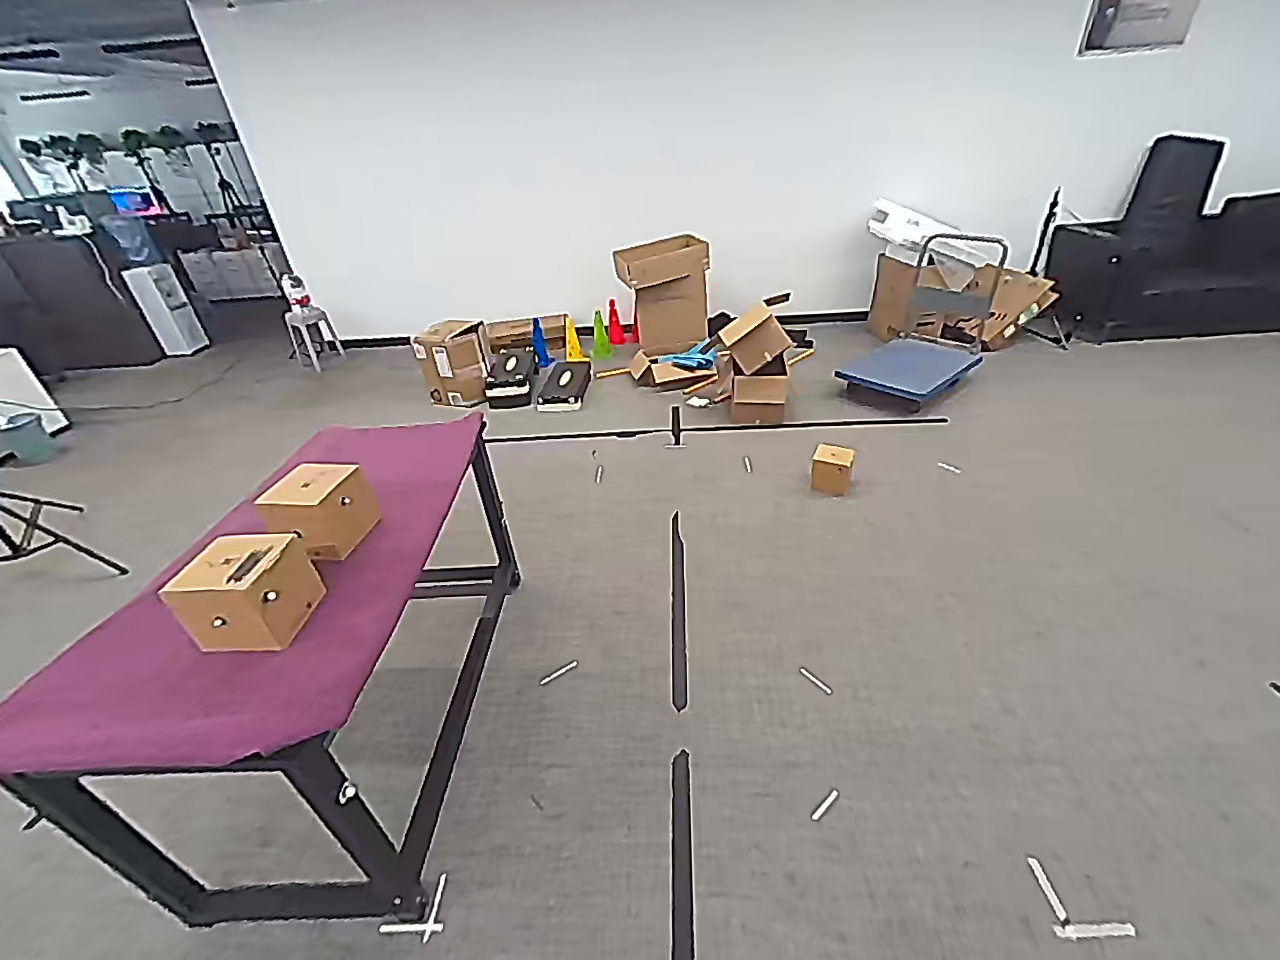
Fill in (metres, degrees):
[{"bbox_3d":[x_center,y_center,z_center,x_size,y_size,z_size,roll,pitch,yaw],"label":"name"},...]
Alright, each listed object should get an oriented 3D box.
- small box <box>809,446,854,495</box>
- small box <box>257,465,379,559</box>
[{"bbox_3d":[0.947,-0.046,2.682,0.179,0.176,0.168,13,36,24],"label":"small box"},{"bbox_3d":[-0.781,0.079,1.336,0.168,0.176,0.179,2,33,9],"label":"small box"}]
